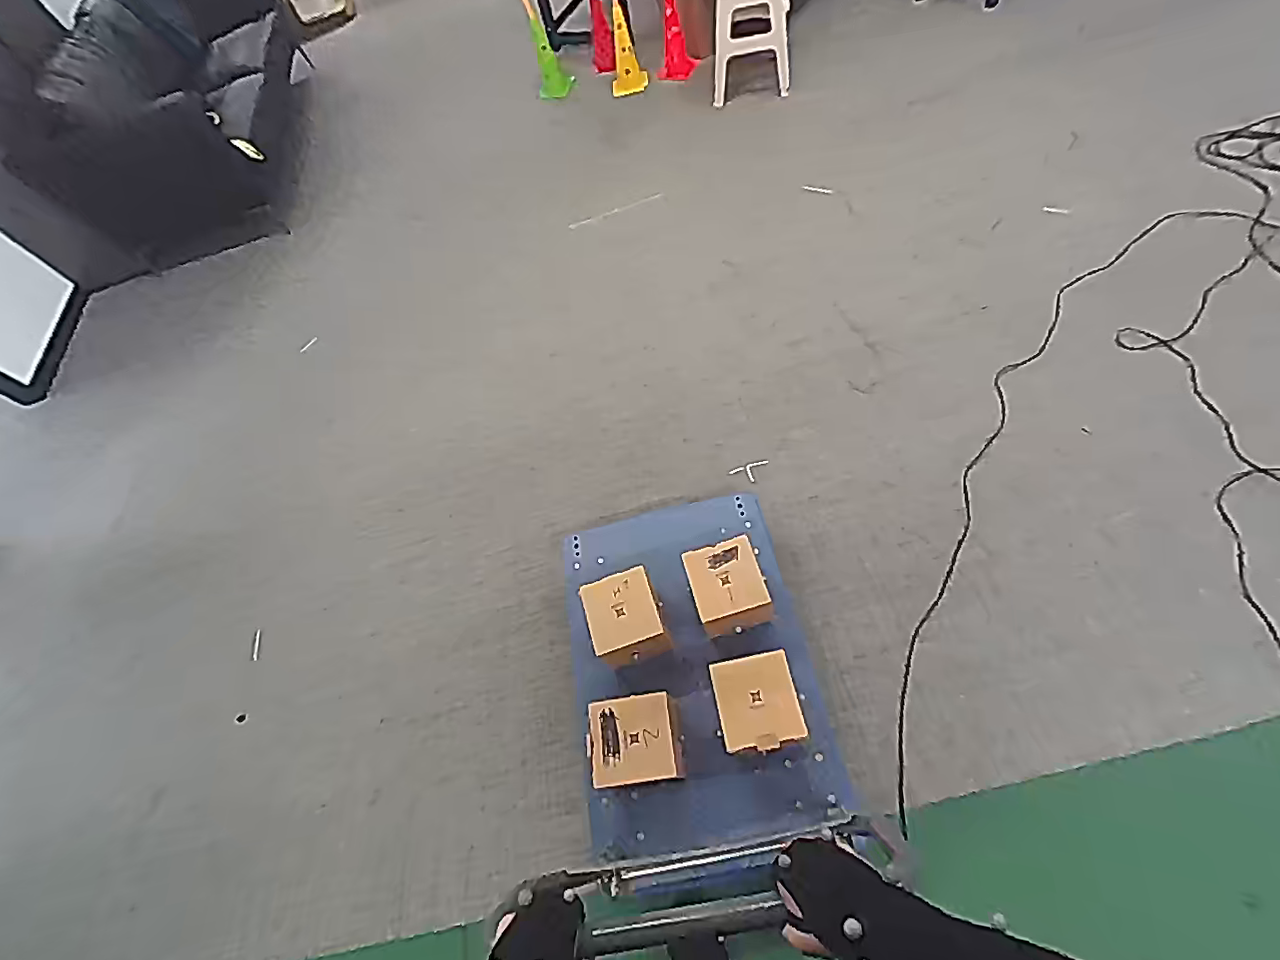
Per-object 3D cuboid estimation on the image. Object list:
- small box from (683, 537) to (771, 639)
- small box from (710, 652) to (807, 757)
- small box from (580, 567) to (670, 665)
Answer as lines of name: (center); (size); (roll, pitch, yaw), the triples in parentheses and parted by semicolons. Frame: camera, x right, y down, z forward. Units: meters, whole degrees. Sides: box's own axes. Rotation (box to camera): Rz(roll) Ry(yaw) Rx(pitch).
small box: (0.211, 0.269, 1.323); (0.168, 0.176, 0.179); (-17, 60, 3)
small box: (0.254, 0.497, 1.188); (0.168, 0.176, 0.179); (-13, 59, 5)
small box: (-0.033, 0.344, 1.335); (0.168, 0.176, 0.179); (-19, 59, 1)
